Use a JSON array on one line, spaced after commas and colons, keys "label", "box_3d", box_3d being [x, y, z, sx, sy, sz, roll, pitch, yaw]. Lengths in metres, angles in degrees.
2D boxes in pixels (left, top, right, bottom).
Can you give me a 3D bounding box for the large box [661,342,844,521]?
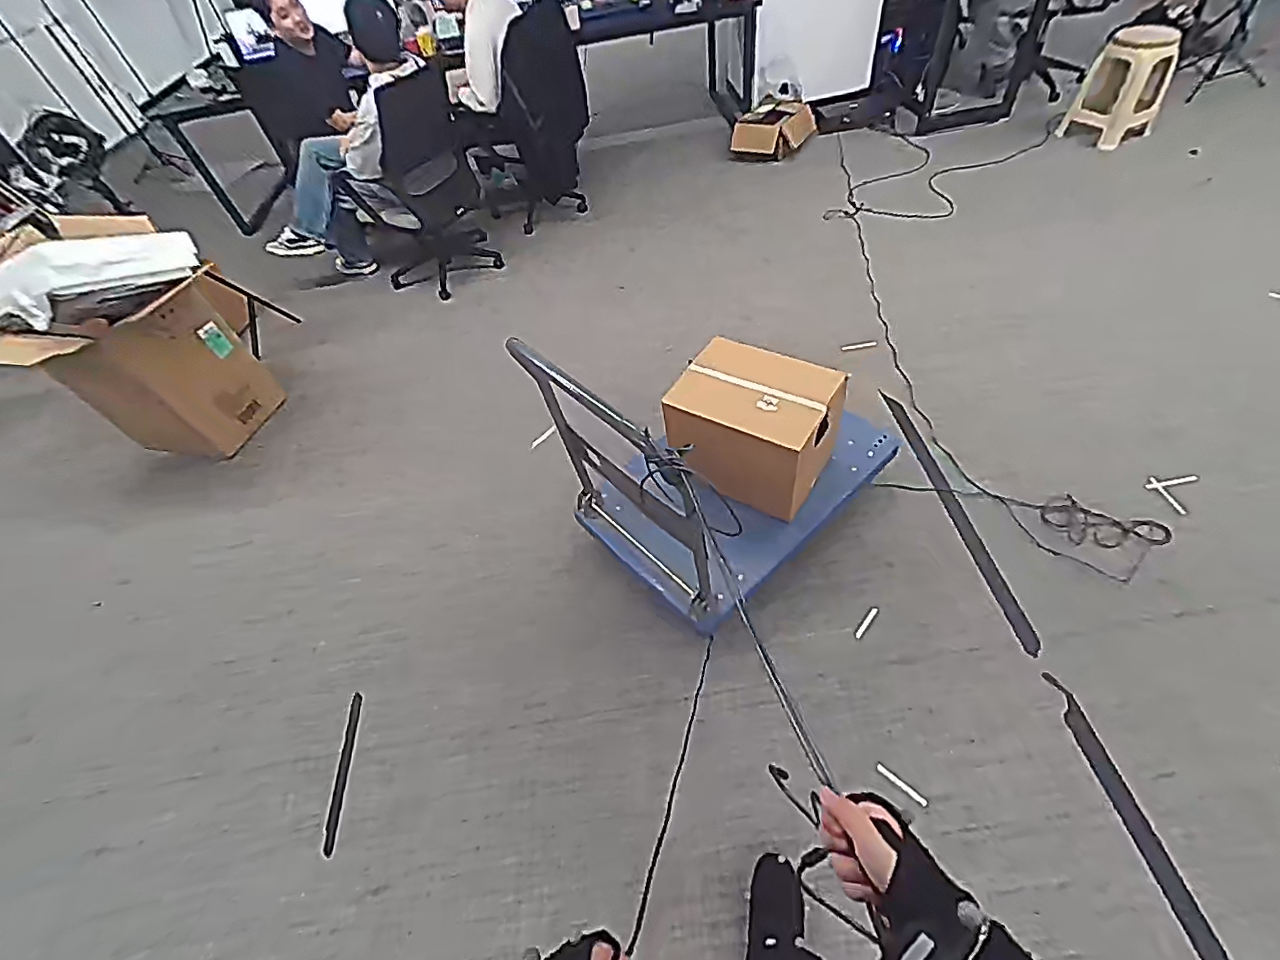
[{"label": "large box", "box_3d": [0.317, -0.145, 1.565, 0.408, 0.320, 0.320, 24, 60, 25]}]
